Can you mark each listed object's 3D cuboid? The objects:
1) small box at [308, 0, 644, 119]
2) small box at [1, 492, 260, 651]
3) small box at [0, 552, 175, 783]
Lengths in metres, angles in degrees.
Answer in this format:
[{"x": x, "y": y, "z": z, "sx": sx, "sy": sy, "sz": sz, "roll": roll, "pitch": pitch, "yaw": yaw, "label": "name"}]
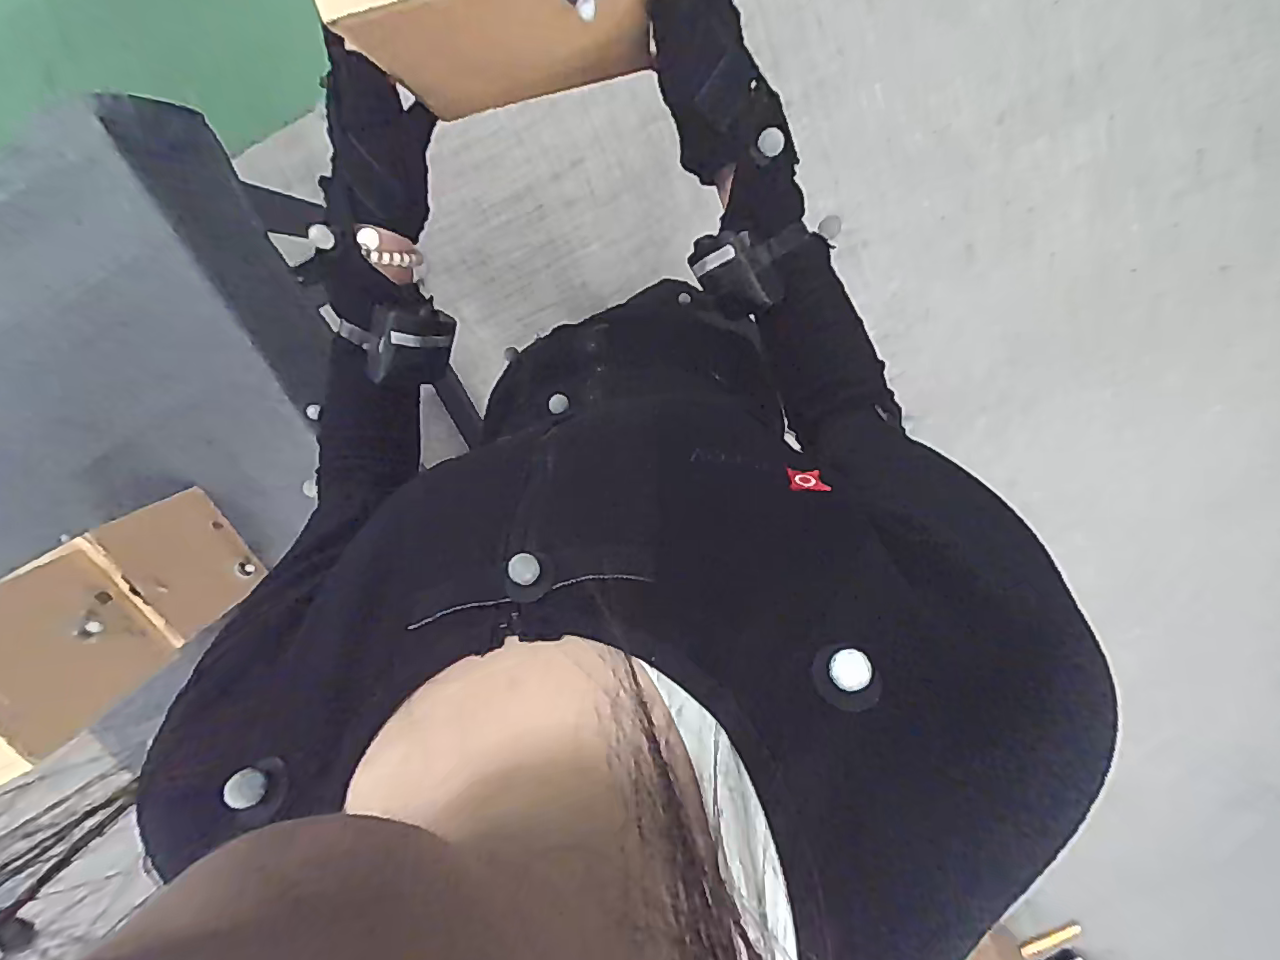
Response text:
[{"x": -0.097, "y": -0.349, "z": 0.324, "sx": 0.179, "sy": 0.176, "sz": 0.168, "roll": -12, "pitch": 108, "yaw": 4, "label": "small box"}, {"x": -0.658, "y": 0.138, "z": 0.723, "sx": 0.179, "sy": 0.176, "sz": 0.168, "roll": -25, "pitch": 106, "yaw": 10, "label": "small box"}, {"x": -0.669, "y": 0.207, "z": 0.573, "sx": 0.179, "sy": 0.176, "sz": 0.168, "roll": -27, "pitch": 106, "yaw": 9, "label": "small box"}]
